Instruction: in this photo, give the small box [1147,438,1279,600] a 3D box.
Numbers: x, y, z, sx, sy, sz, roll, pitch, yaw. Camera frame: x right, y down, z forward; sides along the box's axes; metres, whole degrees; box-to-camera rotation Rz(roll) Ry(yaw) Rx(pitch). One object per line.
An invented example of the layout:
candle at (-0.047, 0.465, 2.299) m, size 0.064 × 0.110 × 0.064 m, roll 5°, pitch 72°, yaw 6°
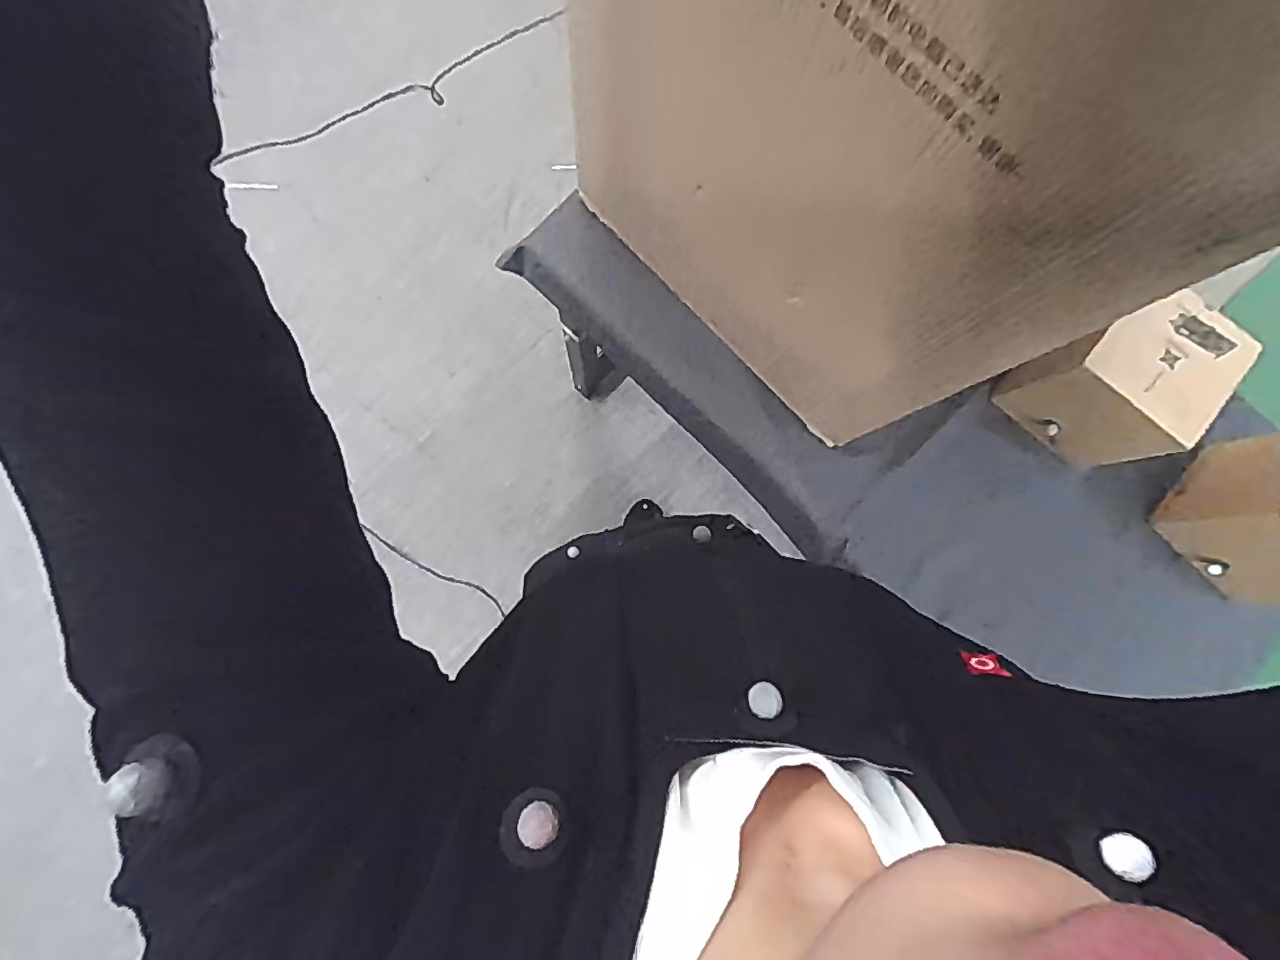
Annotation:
small box at (0.872, 0.052, 0.735) m, size 0.179 × 0.176 × 0.168 m, roll 44°, pitch 82°, yaw 2°
